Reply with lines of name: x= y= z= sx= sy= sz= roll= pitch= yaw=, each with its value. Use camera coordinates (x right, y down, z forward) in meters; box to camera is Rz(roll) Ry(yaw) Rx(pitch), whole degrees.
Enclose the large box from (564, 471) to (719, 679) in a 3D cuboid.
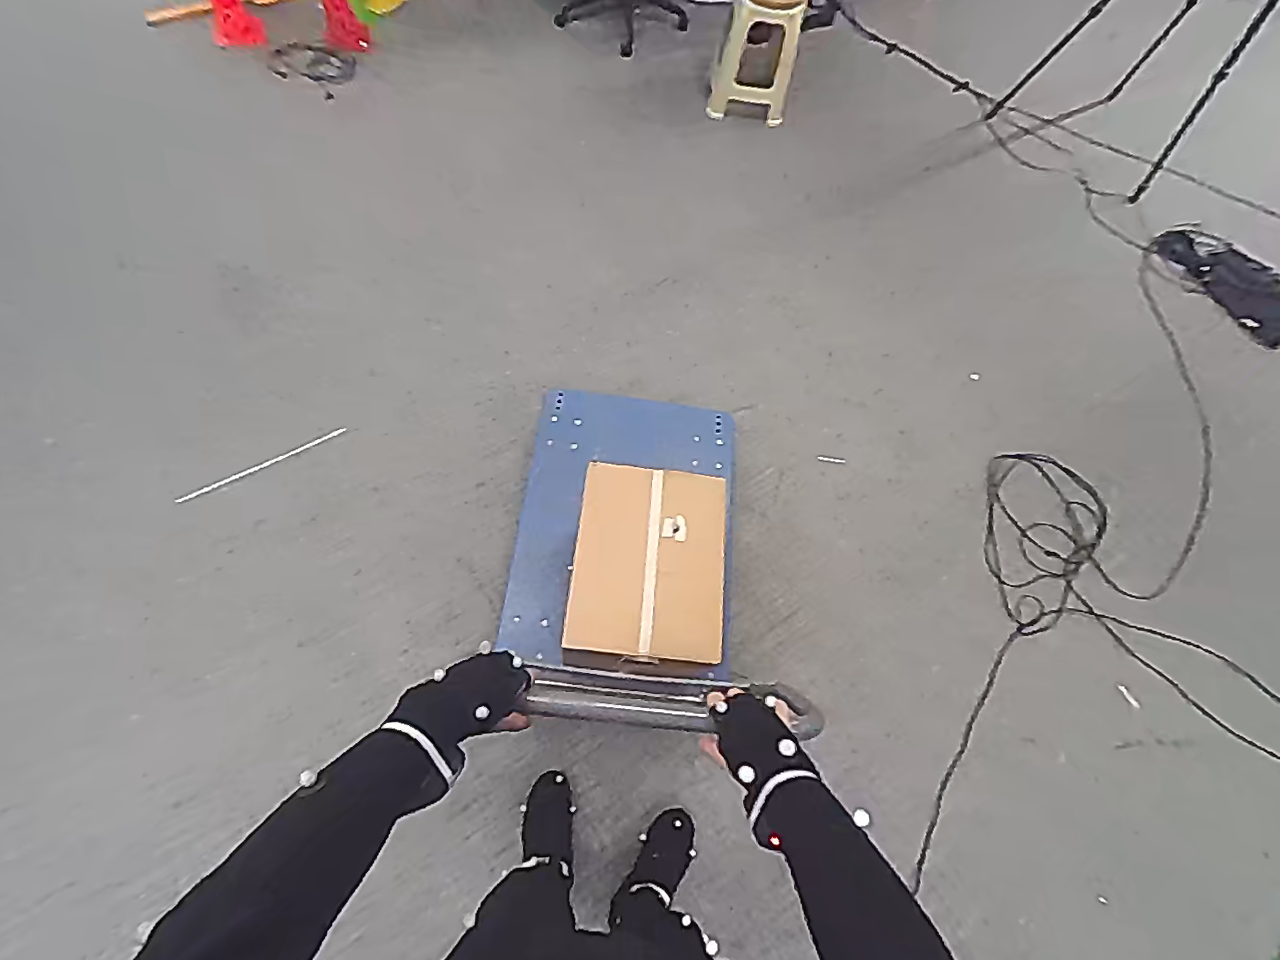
large box: x=0.000 y=0.238 z=1.277 sx=0.320 sy=0.320 sz=0.408 roll=8 pitch=64 yaw=-4
